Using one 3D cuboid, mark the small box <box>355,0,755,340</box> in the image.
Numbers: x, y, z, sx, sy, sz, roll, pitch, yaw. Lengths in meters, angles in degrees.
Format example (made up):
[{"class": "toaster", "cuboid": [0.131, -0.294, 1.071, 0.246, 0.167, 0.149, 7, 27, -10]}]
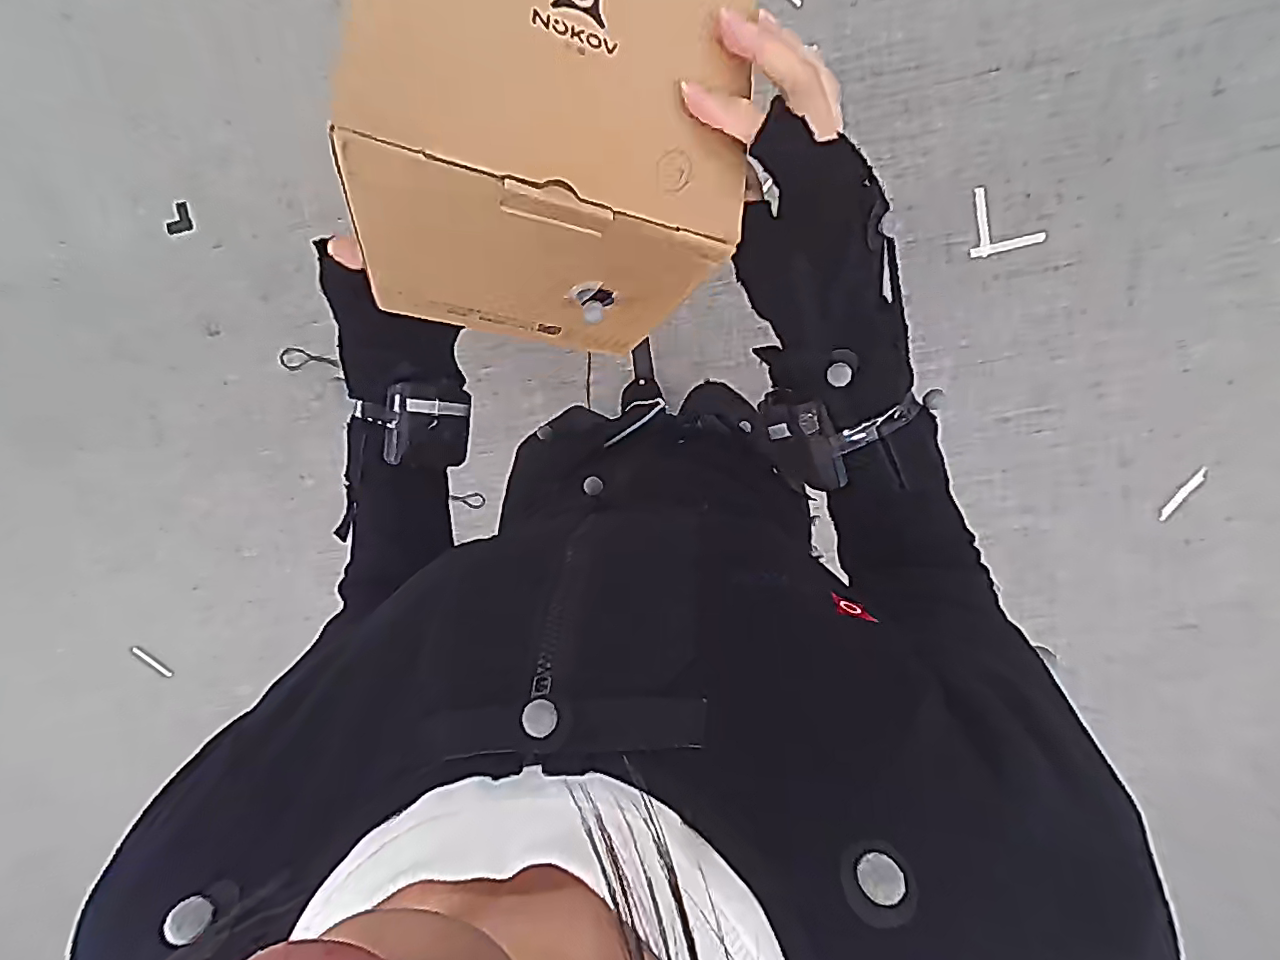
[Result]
[{"class": "small box", "cuboid": [-0.050, -0.198, 0.314, 0.168, 0.176, 0.179, 7, 83, -19]}]
